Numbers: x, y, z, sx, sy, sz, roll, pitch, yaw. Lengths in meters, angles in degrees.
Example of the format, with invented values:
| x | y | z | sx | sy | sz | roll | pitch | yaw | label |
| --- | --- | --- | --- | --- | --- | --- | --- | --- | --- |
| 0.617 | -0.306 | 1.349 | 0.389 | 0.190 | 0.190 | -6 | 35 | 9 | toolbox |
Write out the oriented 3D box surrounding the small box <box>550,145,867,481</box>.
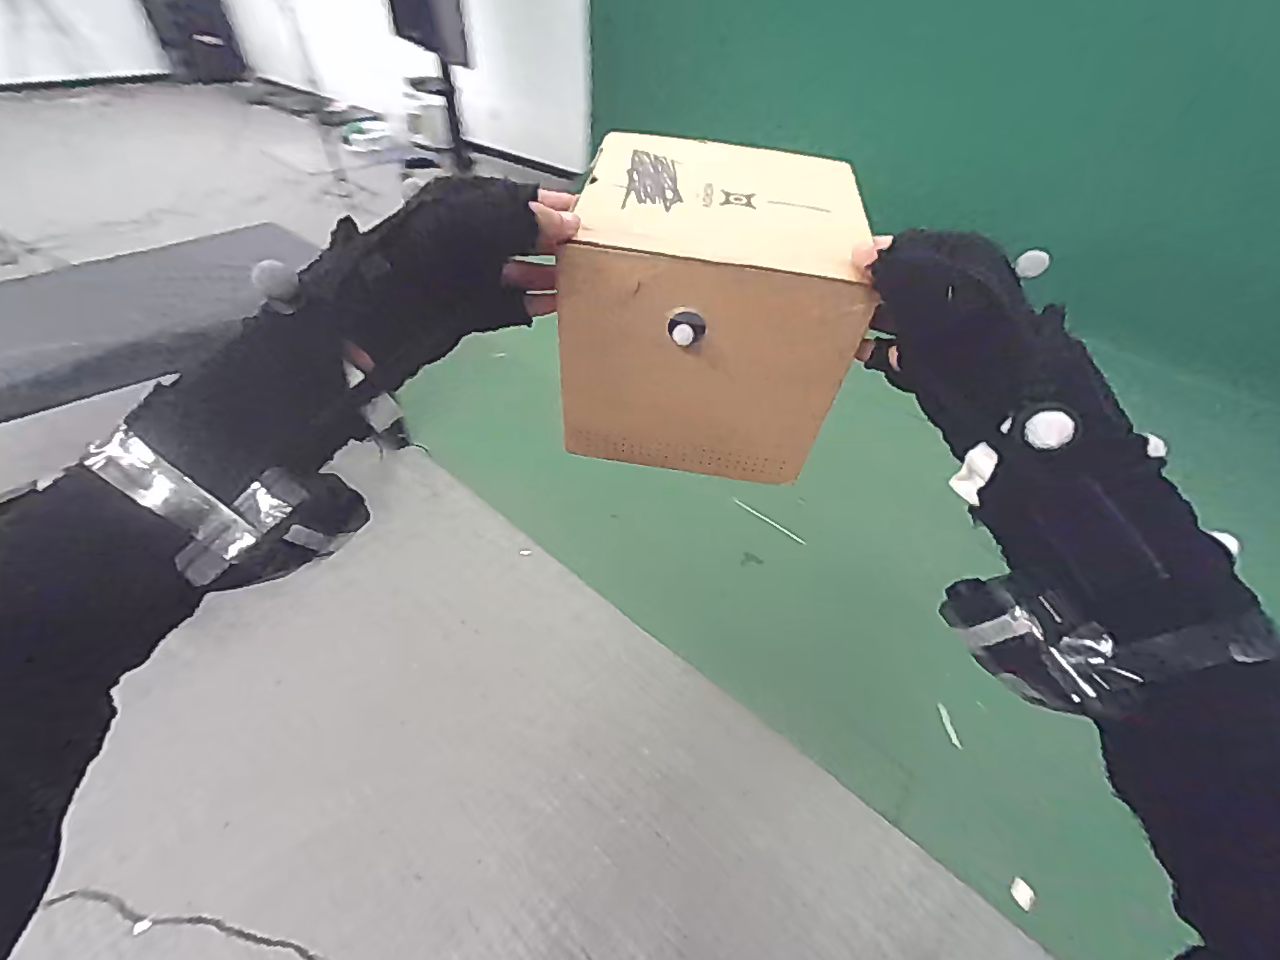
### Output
| x | y | z | sx | sy | sz | roll | pitch | yaw | label |
| --- | --- | --- | --- | --- | --- | --- | --- | --- | --- |
| 0.040 | -0.118 | 0.401 | 0.179 | 0.176 | 0.168 | 9 | 50 | 0 | small box |
